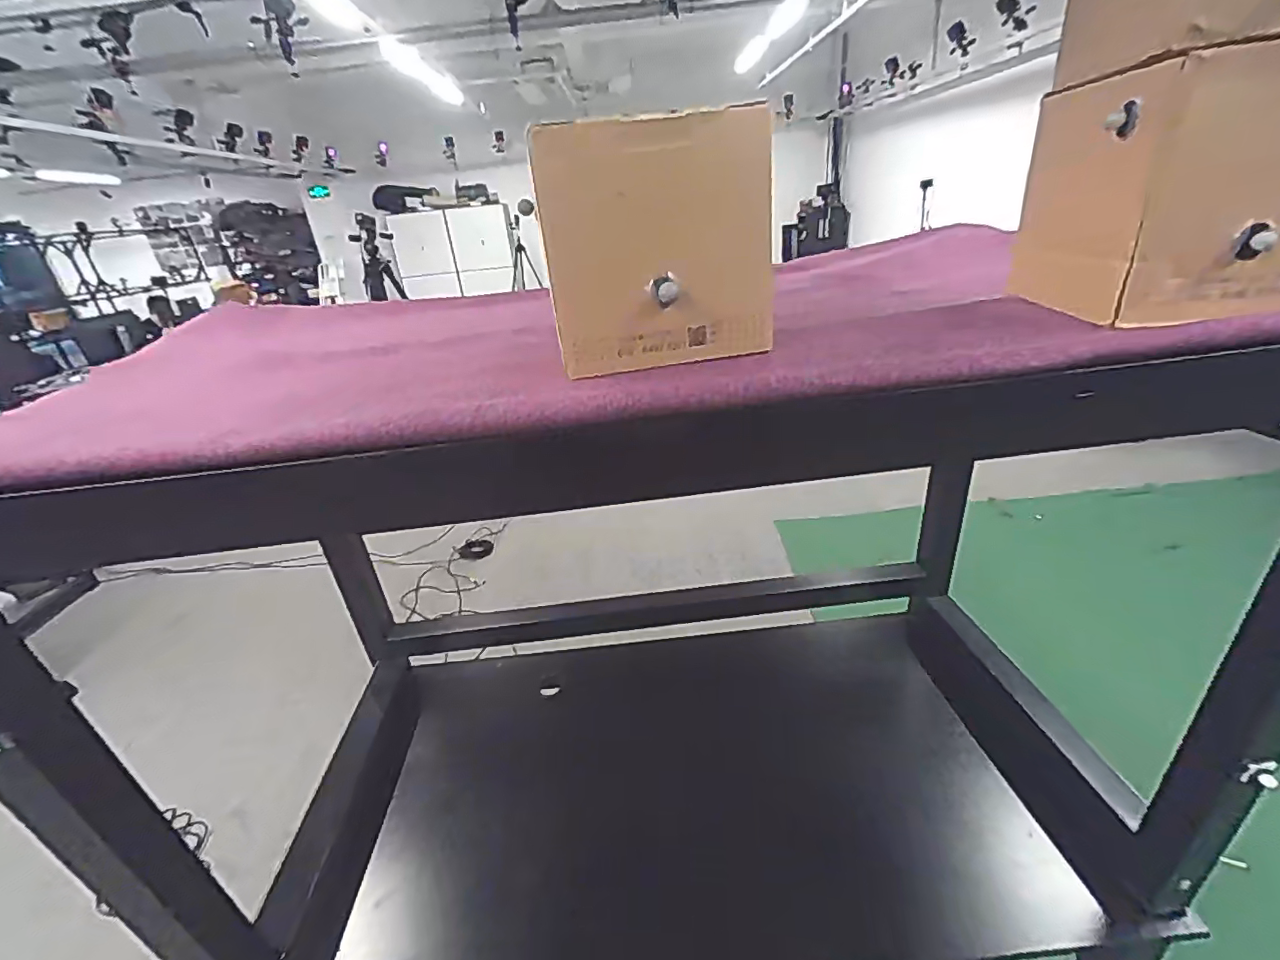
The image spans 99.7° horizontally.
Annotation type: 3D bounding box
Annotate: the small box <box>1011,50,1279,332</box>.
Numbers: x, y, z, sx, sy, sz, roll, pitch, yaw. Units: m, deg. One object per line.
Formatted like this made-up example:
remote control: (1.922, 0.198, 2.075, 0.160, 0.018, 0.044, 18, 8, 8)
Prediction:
small box: (0.422, -0.216, 0.414, 0.168, 0.176, 0.179, -2, 28, 9)

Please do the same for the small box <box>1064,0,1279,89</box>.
small box: (0.406, -0.356, 0.334, 0.168, 0.176, 0.179, -1, 29, 13)
